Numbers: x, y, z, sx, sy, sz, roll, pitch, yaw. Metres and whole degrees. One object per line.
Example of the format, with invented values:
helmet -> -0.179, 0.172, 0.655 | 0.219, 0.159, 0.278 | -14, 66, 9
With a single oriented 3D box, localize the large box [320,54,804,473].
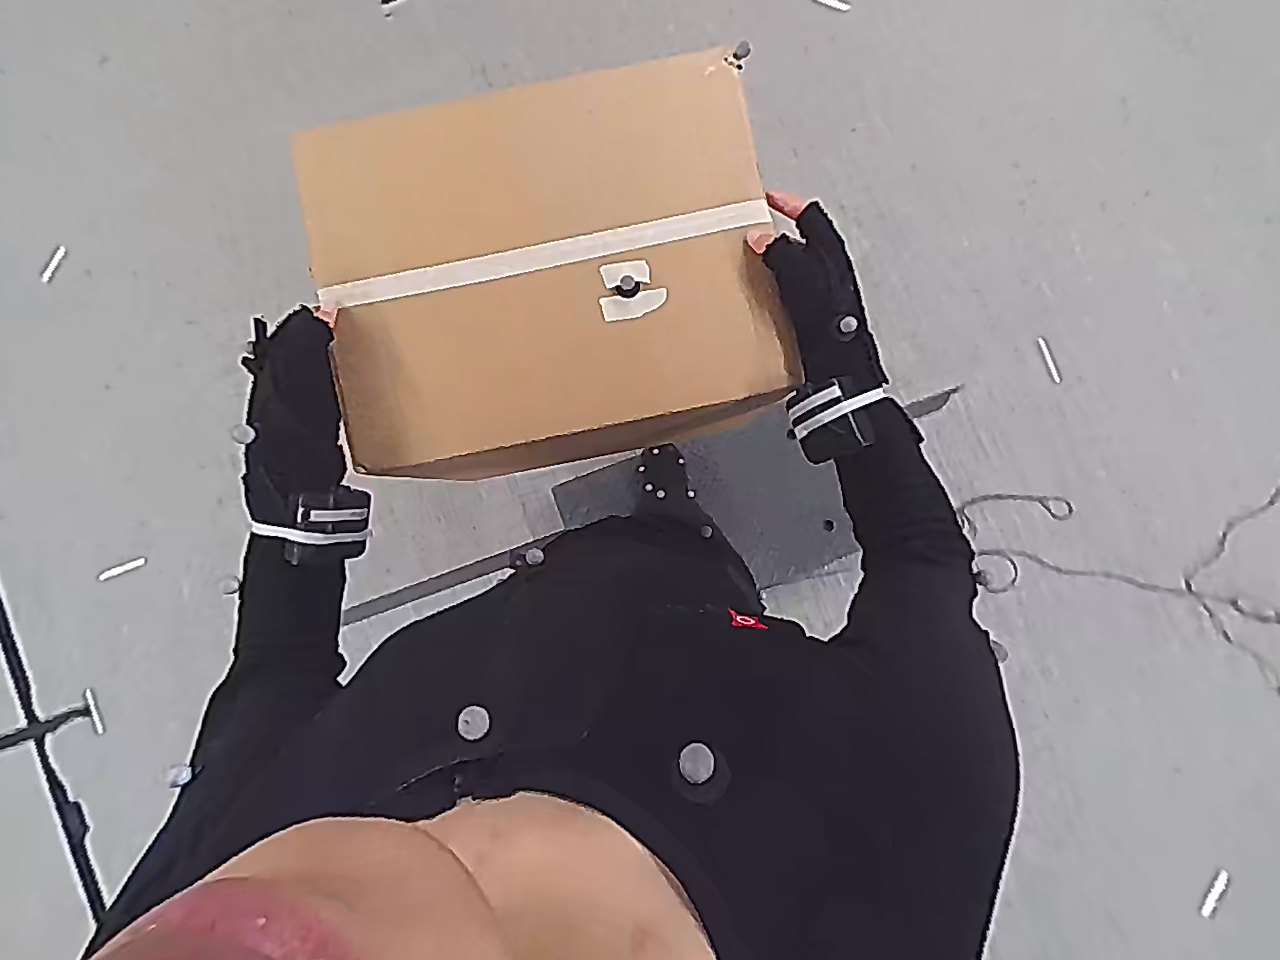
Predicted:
large box -> -0.075, -0.202, 0.641 | 0.408, 0.320, 0.320 | -11, 89, -1
